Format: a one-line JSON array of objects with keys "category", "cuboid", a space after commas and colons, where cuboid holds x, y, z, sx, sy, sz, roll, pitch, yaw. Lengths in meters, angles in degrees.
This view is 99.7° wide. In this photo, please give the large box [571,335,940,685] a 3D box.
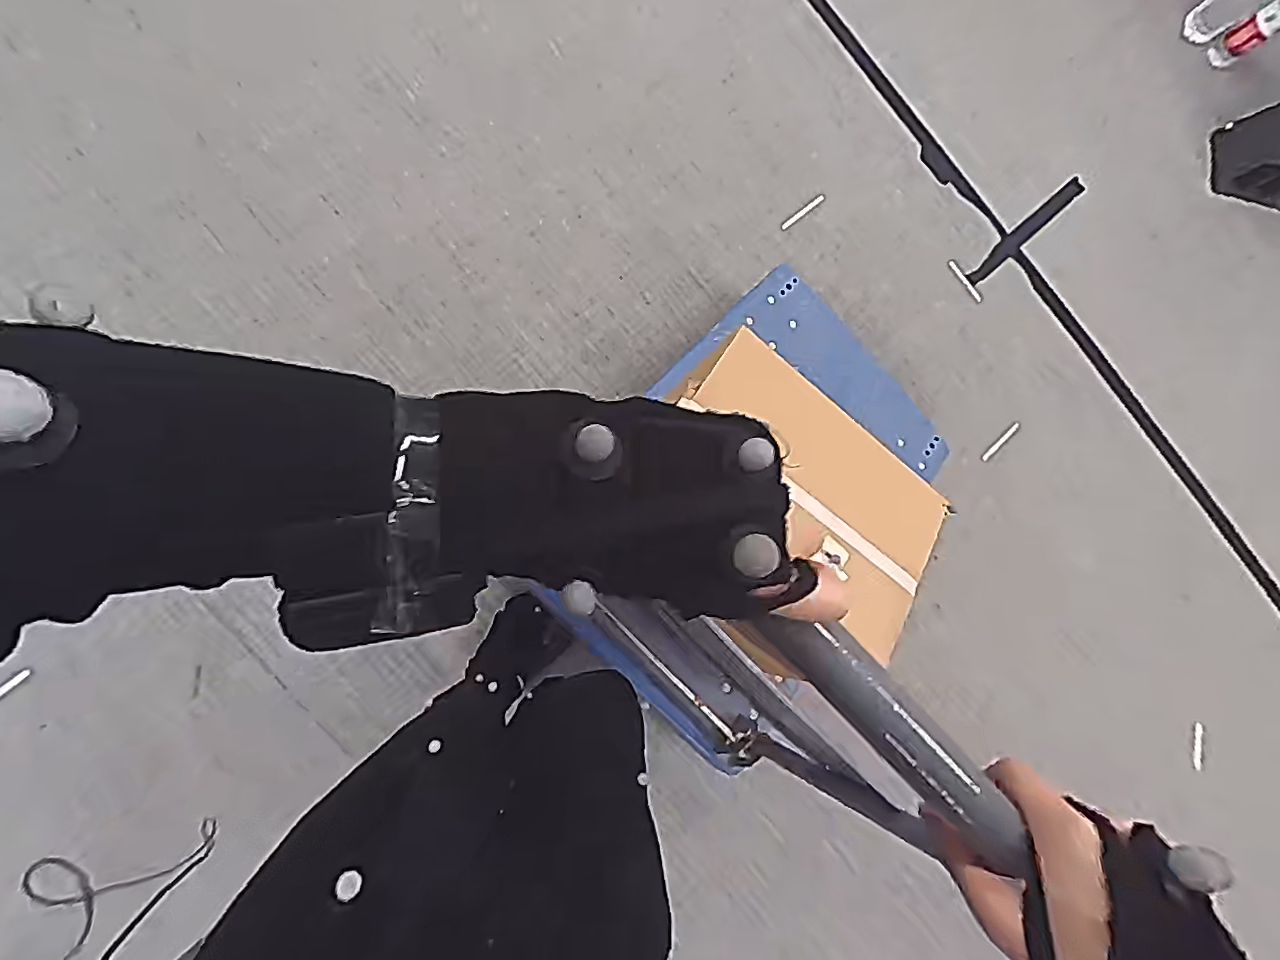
[{"category": "large box", "cuboid": [0.164, 0.062, 0.850, 0.408, 0.320, 0.320, 38, 68, -9]}]
